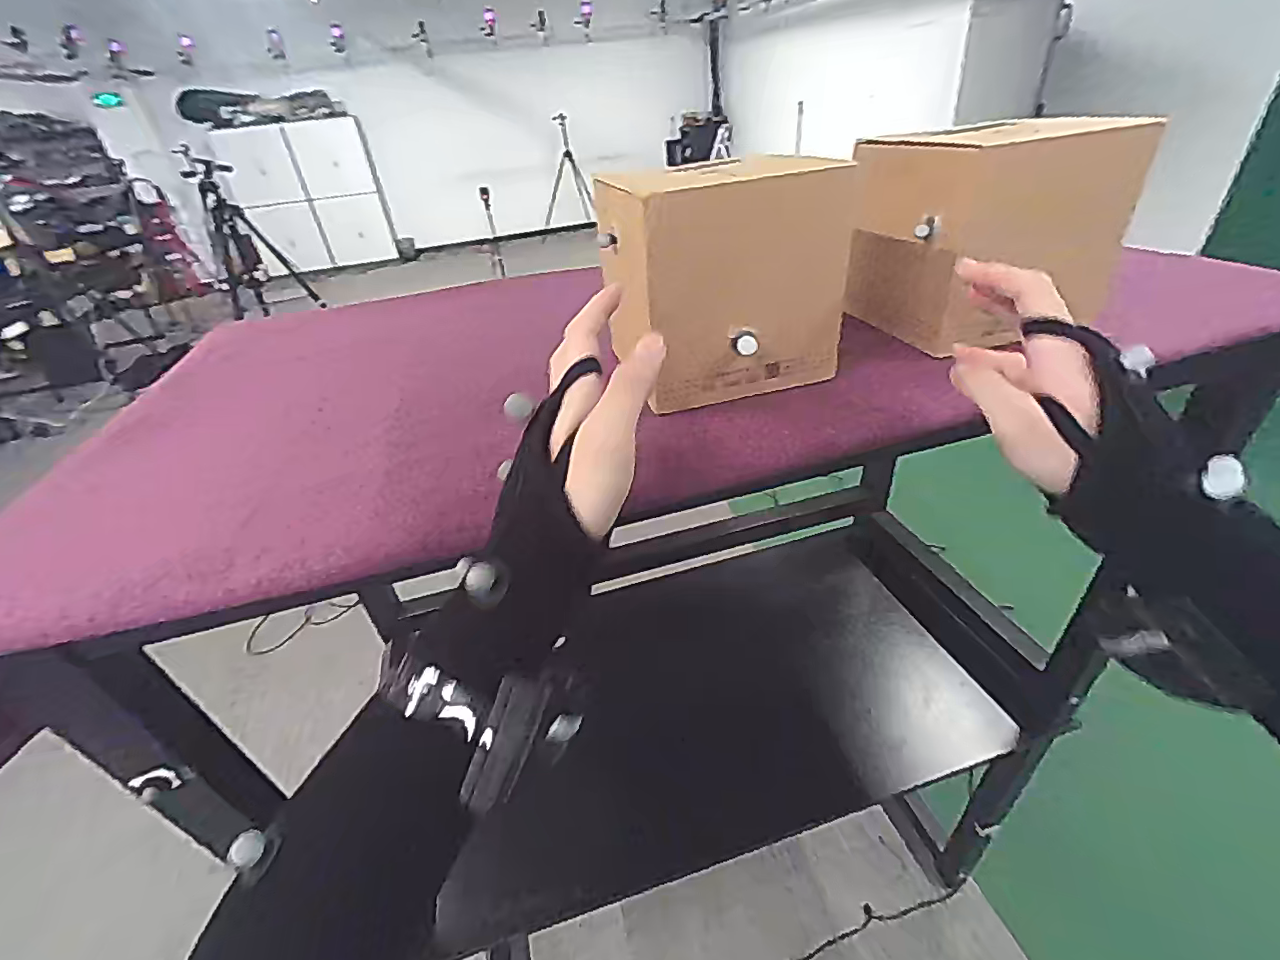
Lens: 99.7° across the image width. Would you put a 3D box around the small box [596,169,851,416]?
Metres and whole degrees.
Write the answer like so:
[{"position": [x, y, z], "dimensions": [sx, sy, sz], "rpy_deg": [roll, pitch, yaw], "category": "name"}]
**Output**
[{"position": [0.064, -0.178, 0.497], "dimensions": [0.168, 0.176, 0.179], "rpy_deg": [-14, 35, -10], "category": "small box"}]
